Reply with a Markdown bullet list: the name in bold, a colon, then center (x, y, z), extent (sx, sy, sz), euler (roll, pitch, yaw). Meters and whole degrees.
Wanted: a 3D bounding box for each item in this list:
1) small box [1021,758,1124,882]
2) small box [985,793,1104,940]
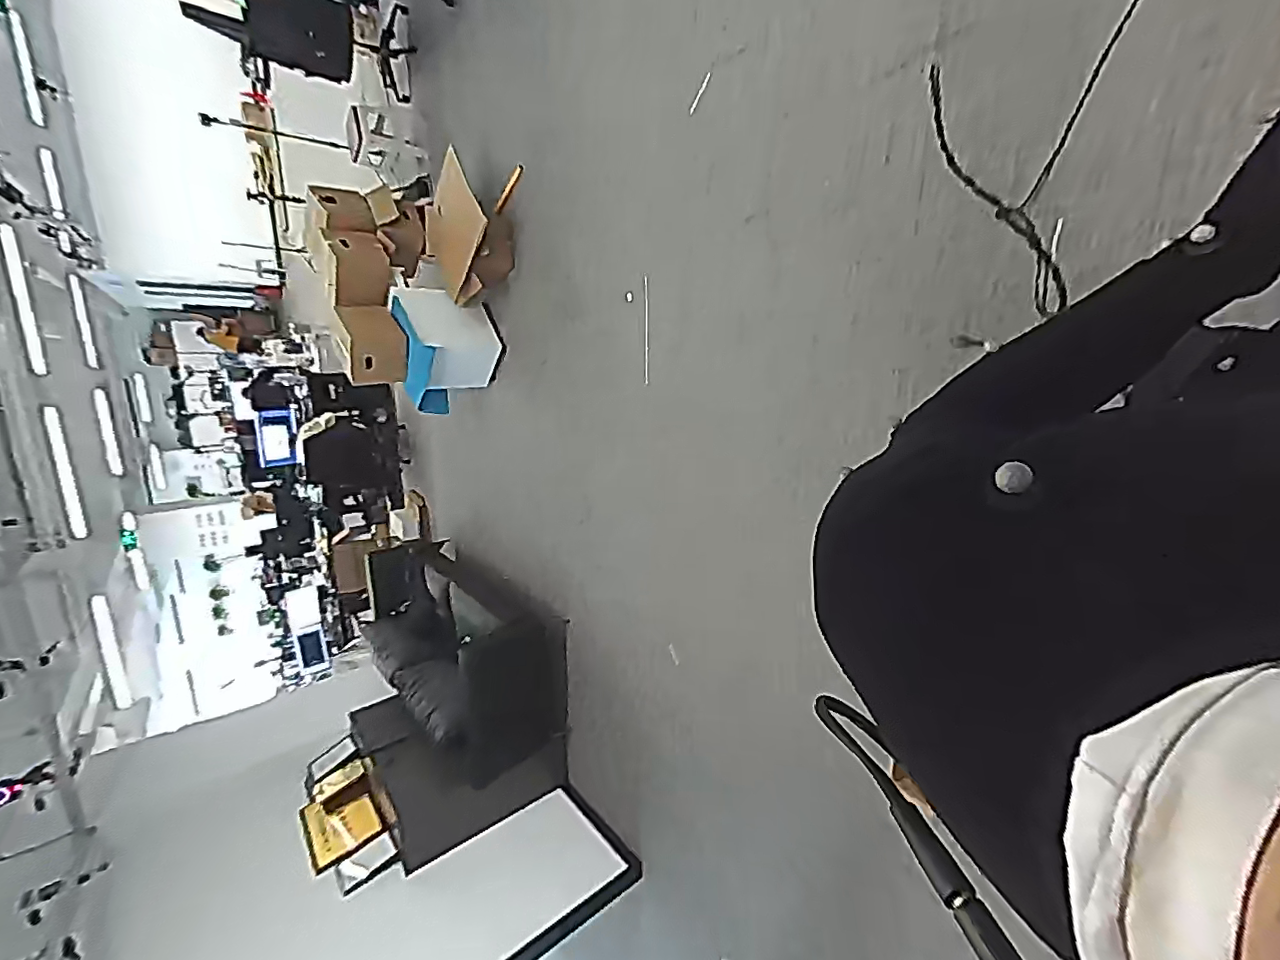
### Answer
- **small box**: center (1.039, 0.820, 1.313), extent (0.168, 0.176, 0.179), euler (18, 111, 51)
- **small box**: center (0.911, 0.854, 1.218), extent (0.168, 0.176, 0.179), euler (16, 110, 51)
